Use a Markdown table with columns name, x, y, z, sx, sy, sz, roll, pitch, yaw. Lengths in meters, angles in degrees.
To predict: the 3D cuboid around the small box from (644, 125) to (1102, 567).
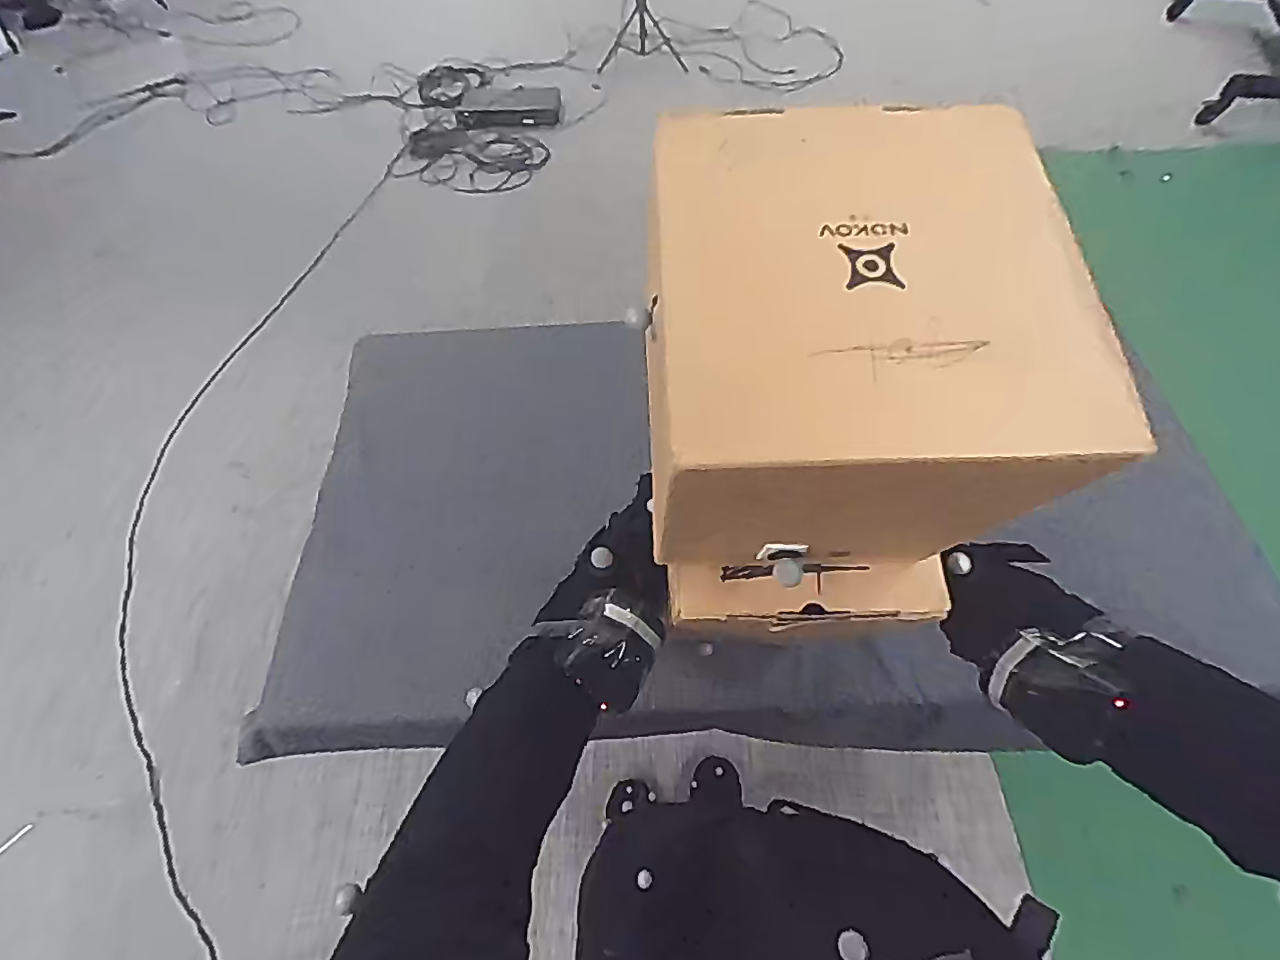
| name | x | y | z | sx | sy | sz | roll | pitch | yaw |
| --- | --- | --- | --- | --- | --- | --- | --- | --- | --- |
| small box | 0.086 | -0.058 | 0.302 | 0.168 | 0.176 | 0.179 | -2 | 69 | 0 |

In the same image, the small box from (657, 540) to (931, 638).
| name | x | y | z | sx | sy | sz | roll | pitch | yaw |
| --- | --- | --- | --- | --- | --- | --- | --- | --- | --- |
| small box | 0.098 | 0.033 | 0.440 | 0.168 | 0.176 | 0.179 | -4 | 69 | -1 |
